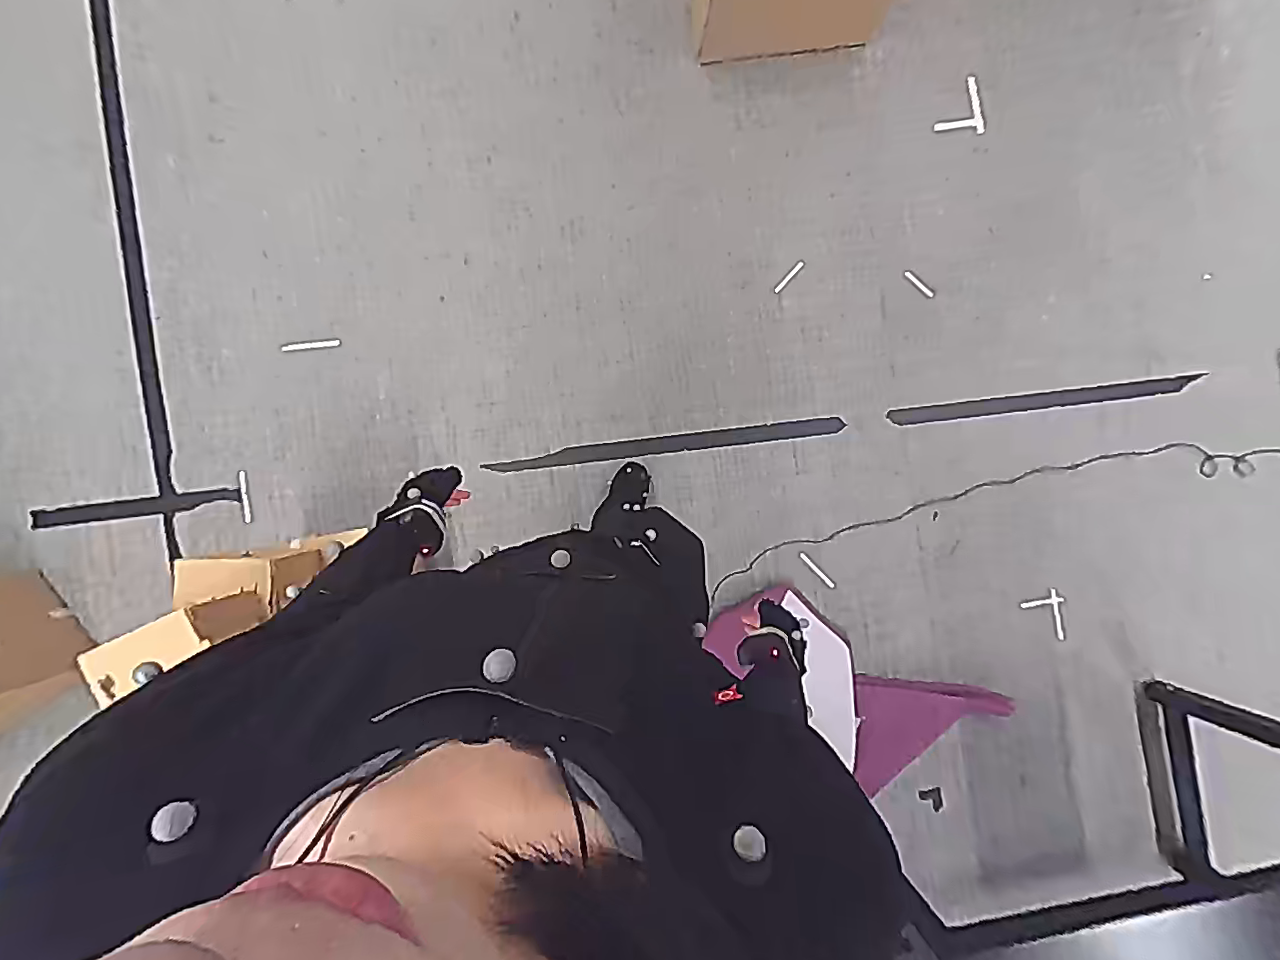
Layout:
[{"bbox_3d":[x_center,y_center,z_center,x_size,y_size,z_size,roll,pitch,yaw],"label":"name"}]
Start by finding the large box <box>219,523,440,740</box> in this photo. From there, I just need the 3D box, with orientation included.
[{"bbox_3d":[-0.721,0.337,1.315,0.320,0.320,0.408,-13,89,-6],"label":"large box"}]

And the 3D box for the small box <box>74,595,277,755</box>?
[{"bbox_3d":[-0.752,0.310,0.905,0.179,0.176,0.168,-25,91,-6],"label":"small box"}]
